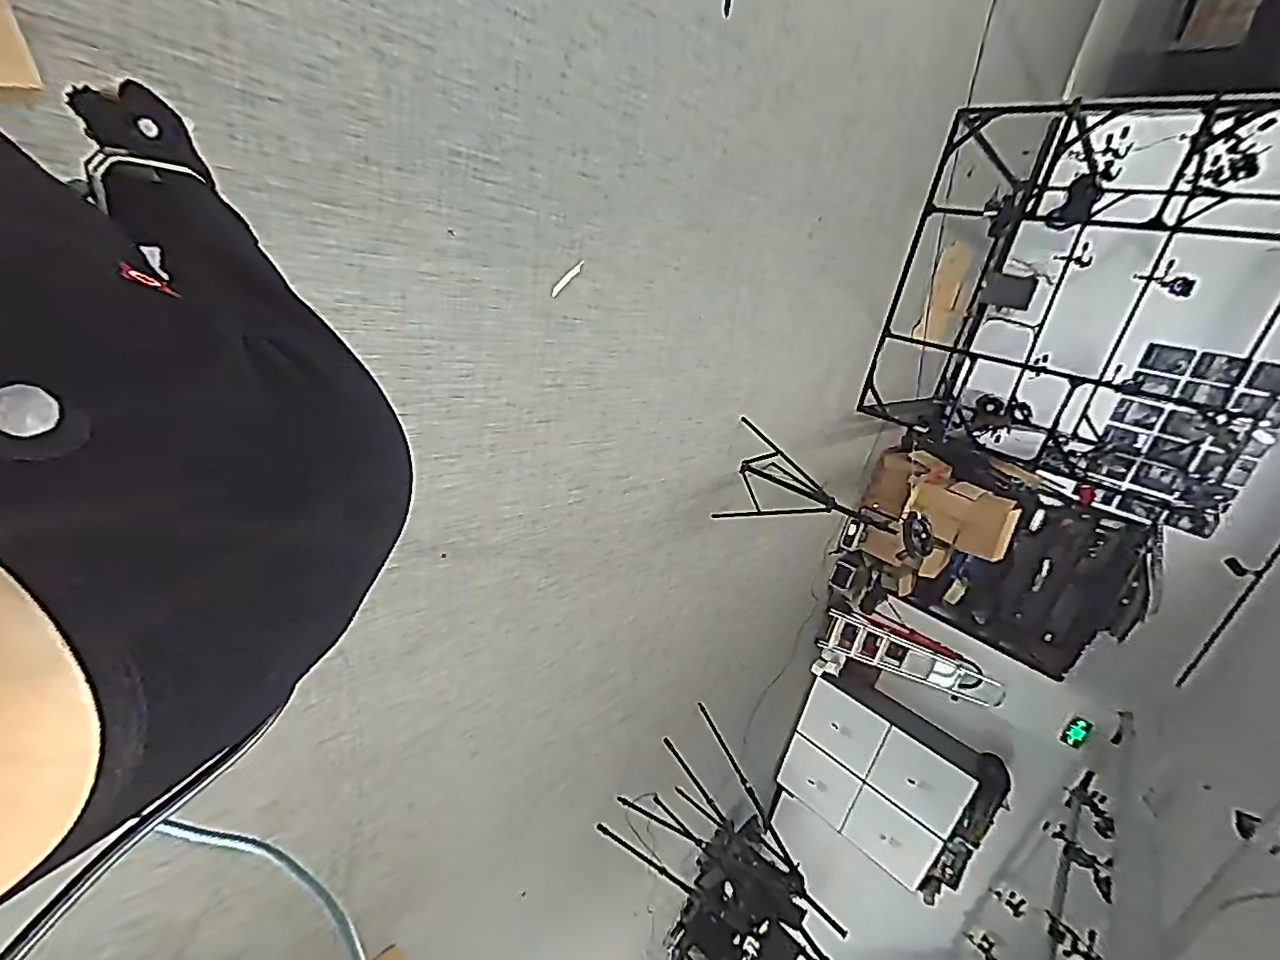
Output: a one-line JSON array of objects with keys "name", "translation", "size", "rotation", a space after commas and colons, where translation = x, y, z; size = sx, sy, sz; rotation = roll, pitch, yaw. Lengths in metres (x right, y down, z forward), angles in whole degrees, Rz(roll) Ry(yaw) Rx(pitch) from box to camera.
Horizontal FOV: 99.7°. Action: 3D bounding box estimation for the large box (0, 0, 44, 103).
[{"name": "large box", "translation": [-1.048, -0.642, 0.623], "size": [0.408, 0.320, 0.320], "rotation": [-27, 130, -38]}]
